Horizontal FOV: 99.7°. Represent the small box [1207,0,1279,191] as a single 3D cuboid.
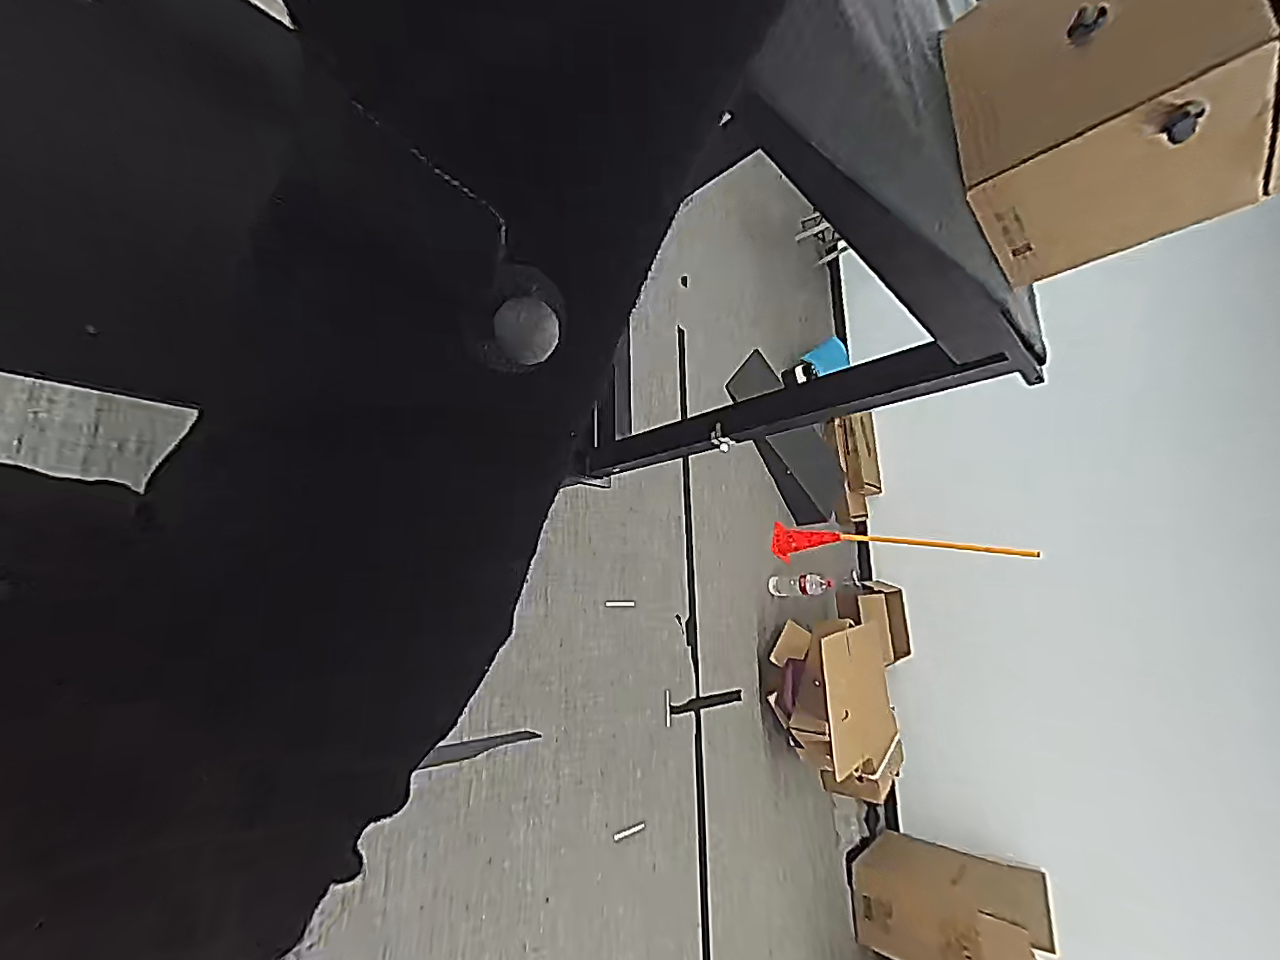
[{"bbox_3d":[0.482,-0.331,0.333,0.168,0.176,0.179,17,68,-42],"label":"small box"}]
